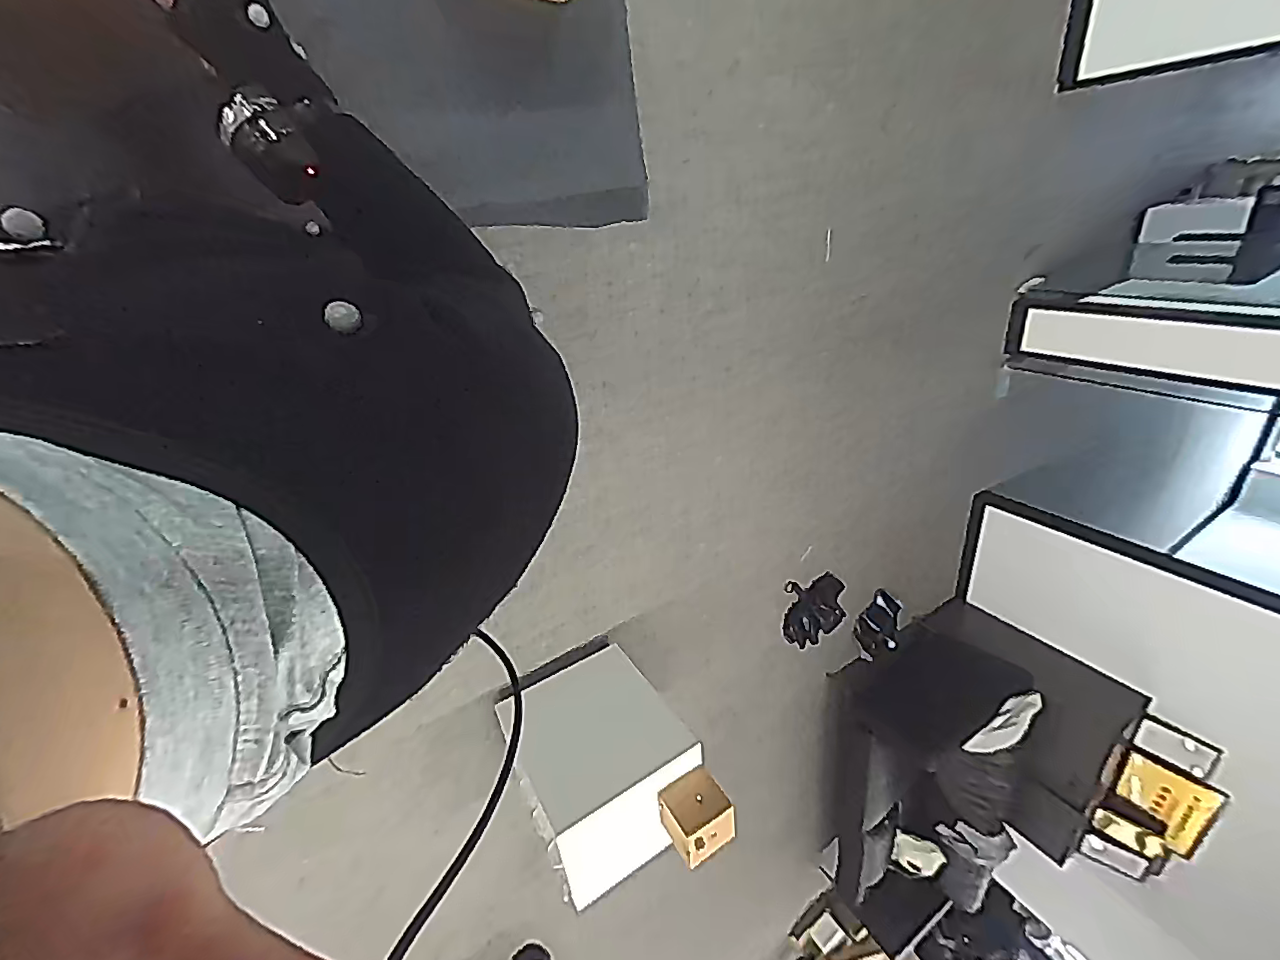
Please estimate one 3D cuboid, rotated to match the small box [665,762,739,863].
[{"bbox_3d":[0.190,1.039,1.700,0.179,0.176,0.168,-21,121,-25],"label":"small box"}]
